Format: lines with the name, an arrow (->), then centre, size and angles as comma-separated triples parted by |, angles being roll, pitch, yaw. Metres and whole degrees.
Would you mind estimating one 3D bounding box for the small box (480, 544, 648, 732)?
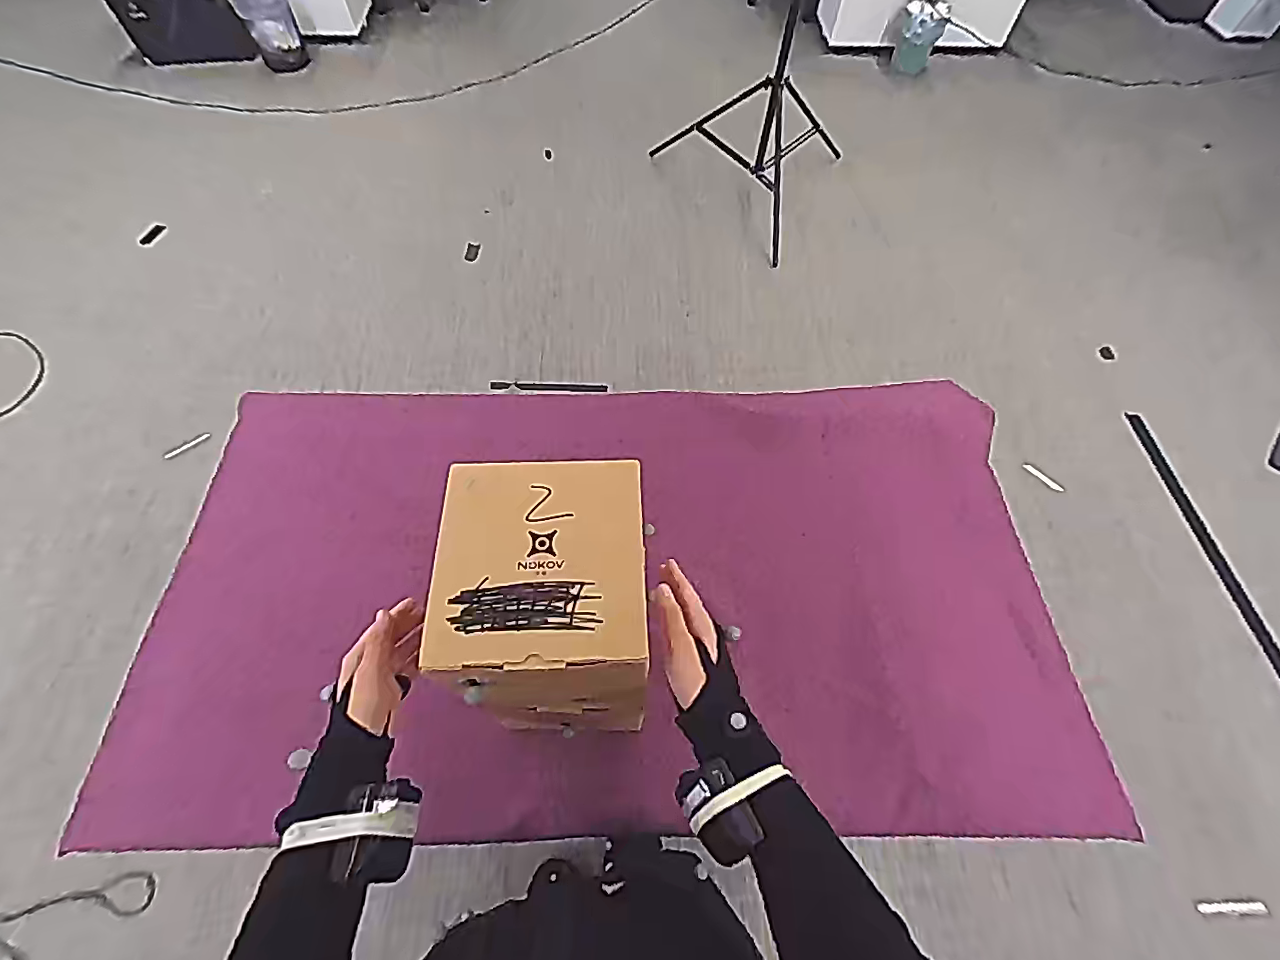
small box -> -0.077, 0.191, 0.640 | 0.168, 0.176, 0.179 | 1, 59, 0
